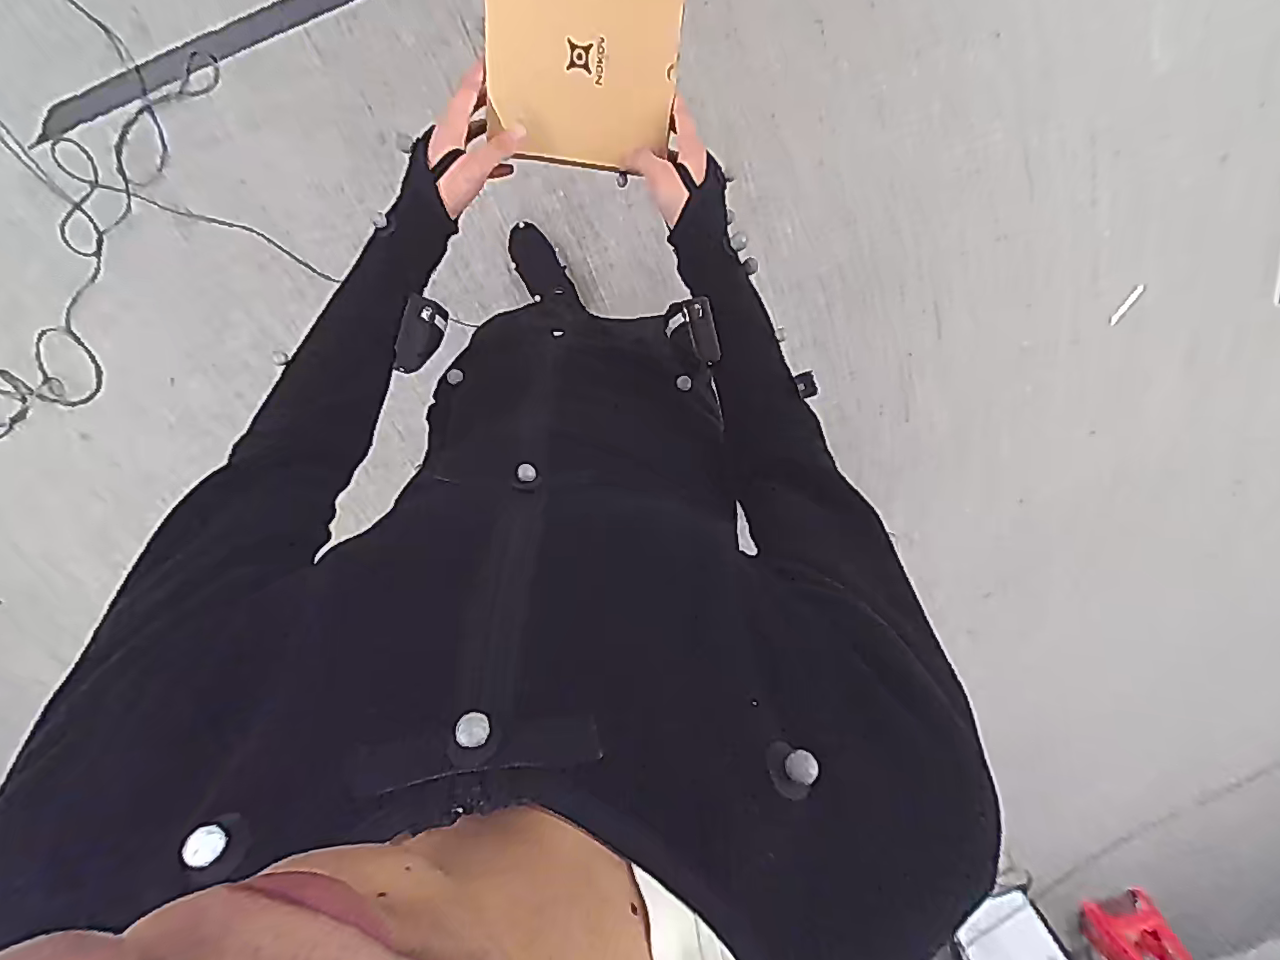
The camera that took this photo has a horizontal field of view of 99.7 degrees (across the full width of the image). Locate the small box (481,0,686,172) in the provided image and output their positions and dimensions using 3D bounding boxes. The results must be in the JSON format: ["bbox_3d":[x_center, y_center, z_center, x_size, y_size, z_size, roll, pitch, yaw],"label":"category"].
[{"bbox_3d":[-0.062,-0.417,0.549,0.179,0.176,0.168,1,119,-11],"label":"small box"}]
